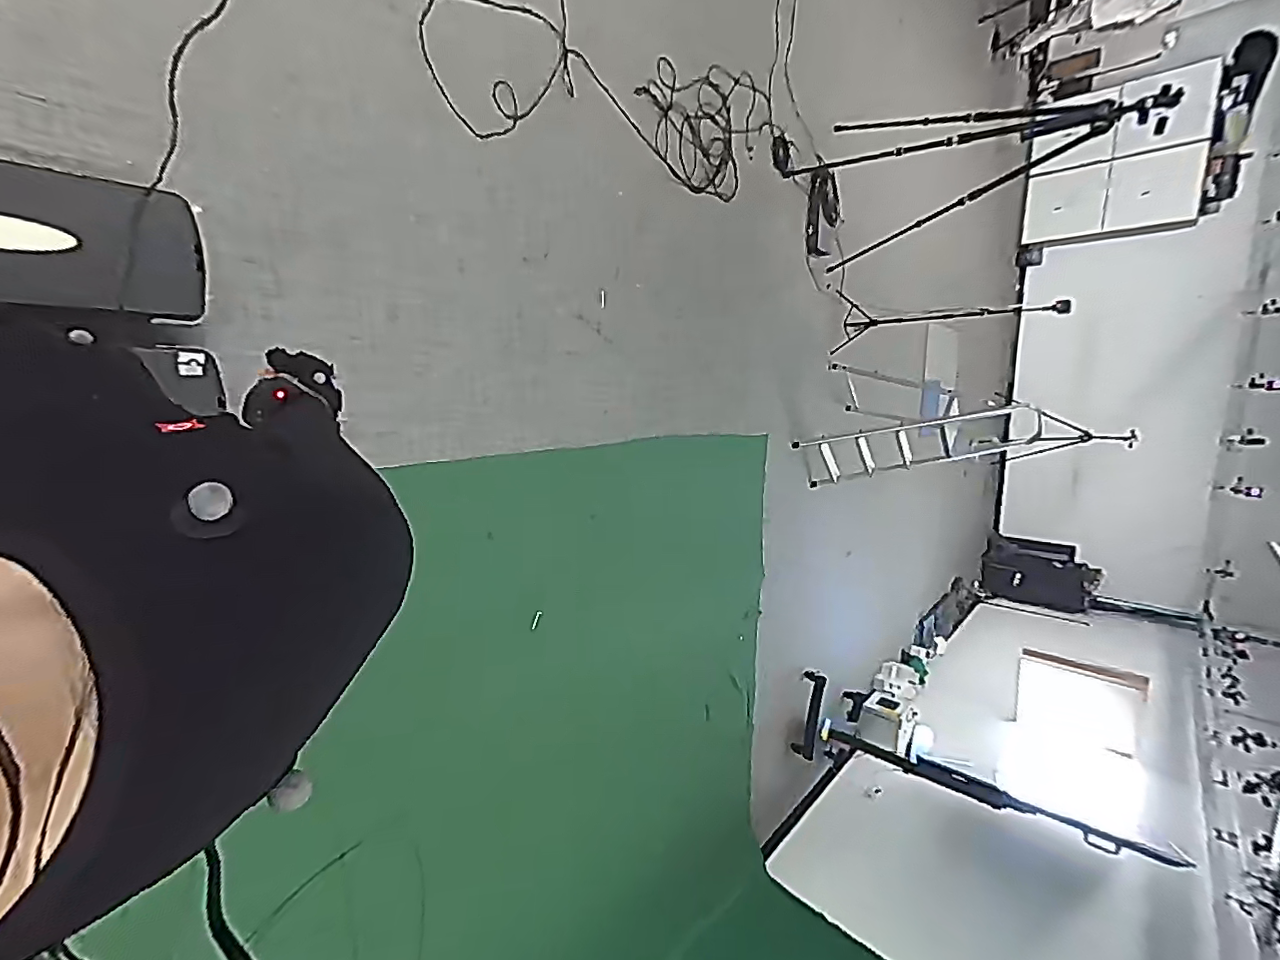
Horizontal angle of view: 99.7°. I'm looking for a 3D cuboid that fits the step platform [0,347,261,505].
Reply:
[{"bbox_3d":[-1.083,-0.090,0.925,0.684,0.204,0.286,-10,103,-47],"label":"step platform"}]
